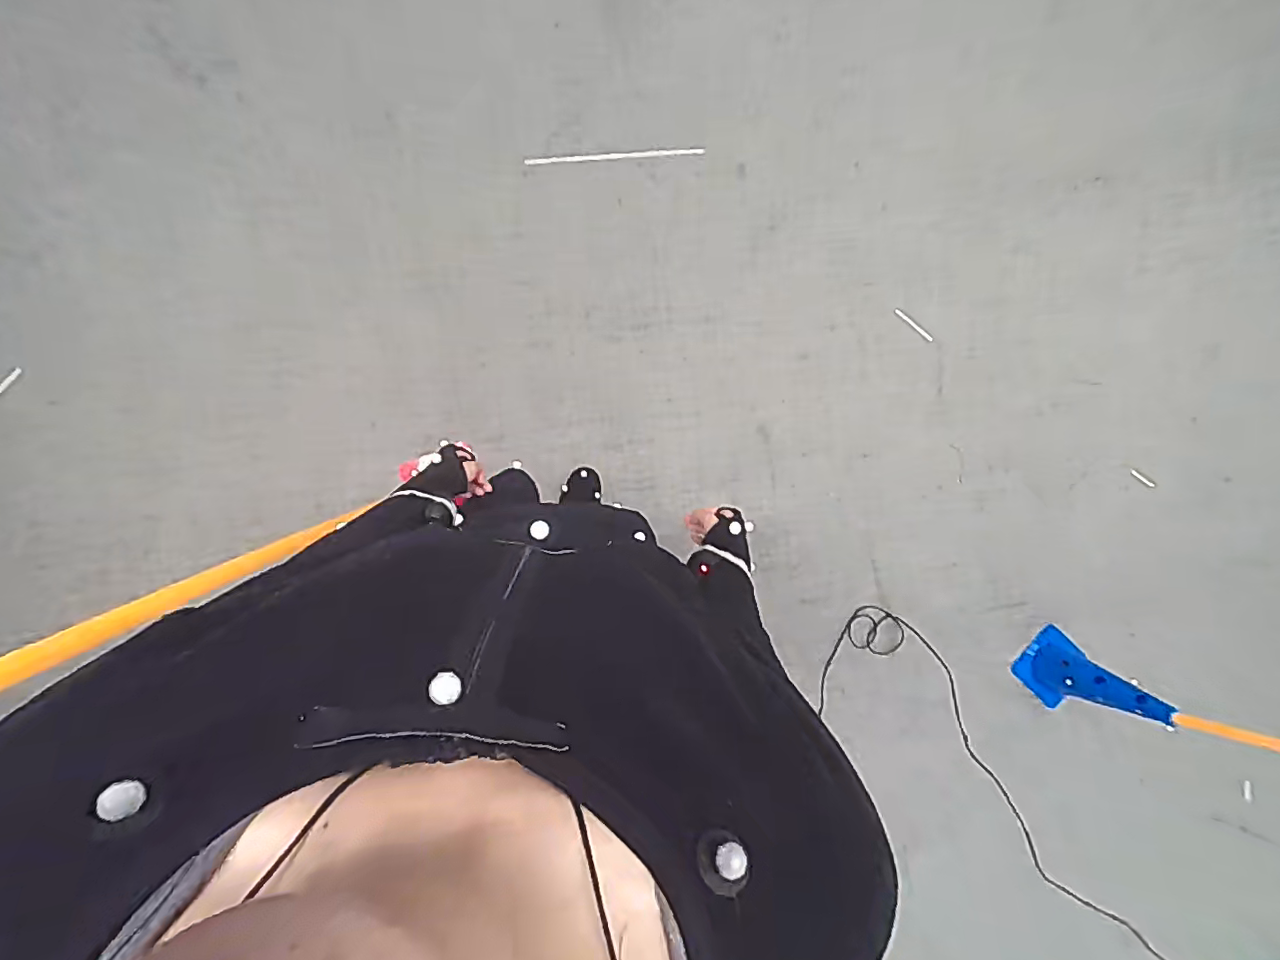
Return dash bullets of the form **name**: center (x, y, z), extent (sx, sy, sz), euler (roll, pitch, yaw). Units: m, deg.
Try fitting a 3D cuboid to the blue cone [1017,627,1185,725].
- **blue cone**: center (1.281, 0.571, 1.496), extent (0.192, 0.380, 0.193), euler (42, 86, -6)
